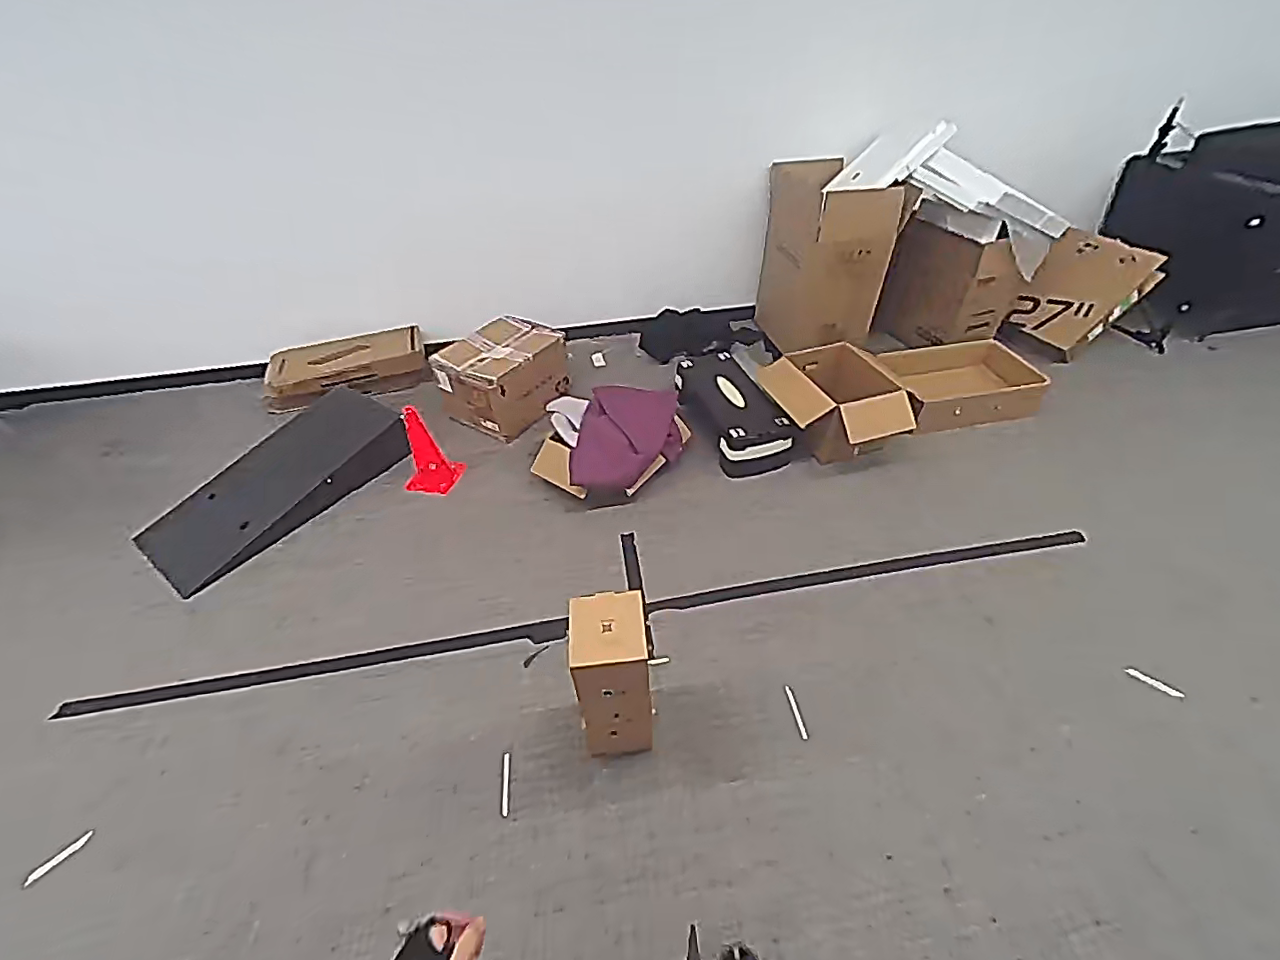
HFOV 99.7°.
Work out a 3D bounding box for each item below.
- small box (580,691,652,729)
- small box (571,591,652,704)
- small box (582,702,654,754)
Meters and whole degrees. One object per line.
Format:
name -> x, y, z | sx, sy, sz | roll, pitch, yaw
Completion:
small box -> -0.060, 0.488, 1.339 | 0.168, 0.176, 0.179 | -6, 43, -2
small box -> -0.065, 0.377, 1.219 | 0.168, 0.176, 0.179 | -6, 44, -2
small box -> -0.059, 0.613, 1.447 | 0.179, 0.176, 0.168 | -5, 43, -3
